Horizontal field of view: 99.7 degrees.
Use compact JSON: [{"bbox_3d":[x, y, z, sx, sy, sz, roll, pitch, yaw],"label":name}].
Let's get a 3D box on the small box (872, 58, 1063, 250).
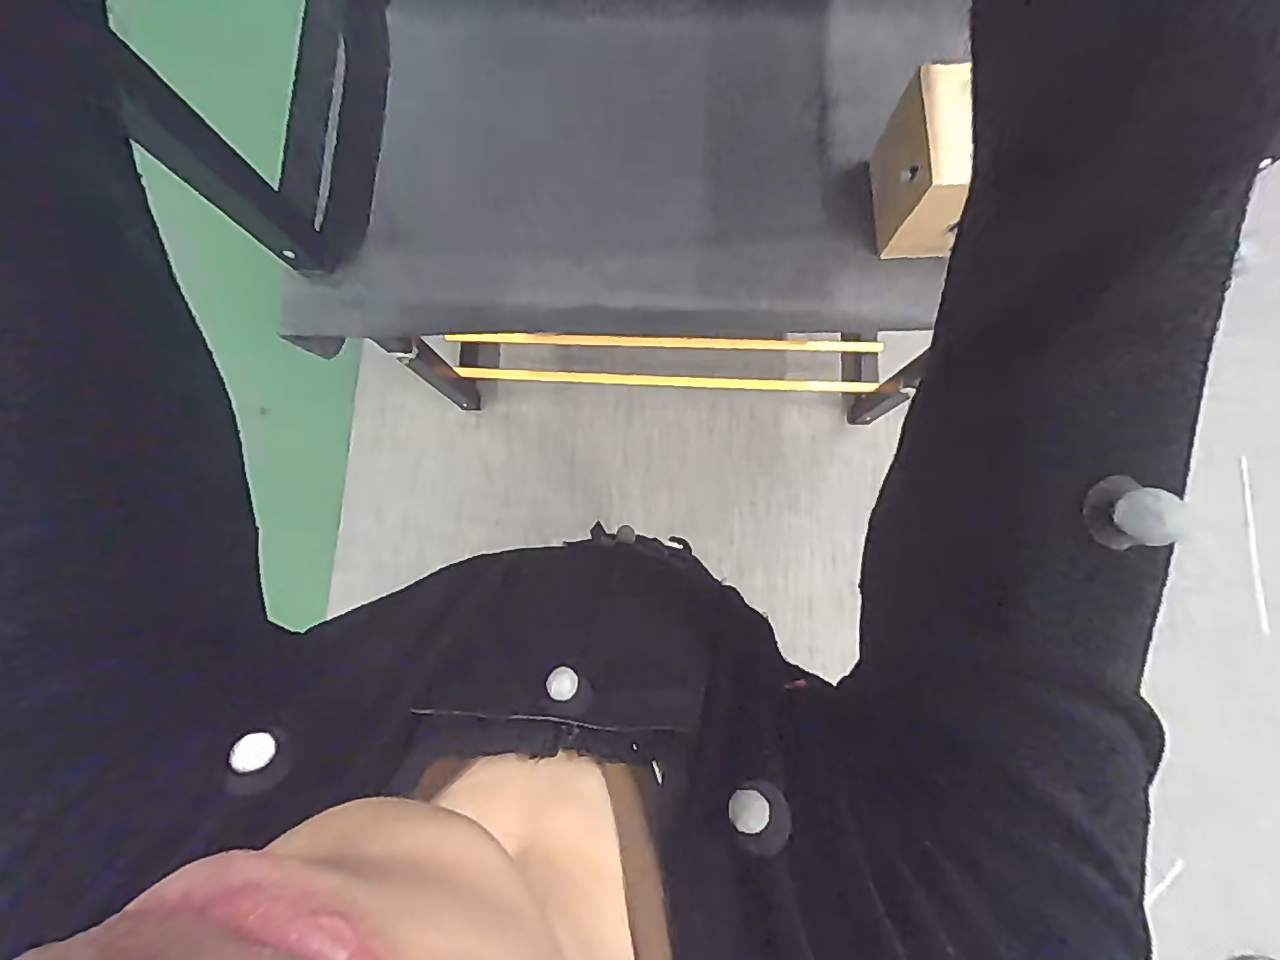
[{"bbox_3d":[0.447,-0.445,0.767,0.168,0.176,0.179,-2,81,1],"label":"small box"}]
